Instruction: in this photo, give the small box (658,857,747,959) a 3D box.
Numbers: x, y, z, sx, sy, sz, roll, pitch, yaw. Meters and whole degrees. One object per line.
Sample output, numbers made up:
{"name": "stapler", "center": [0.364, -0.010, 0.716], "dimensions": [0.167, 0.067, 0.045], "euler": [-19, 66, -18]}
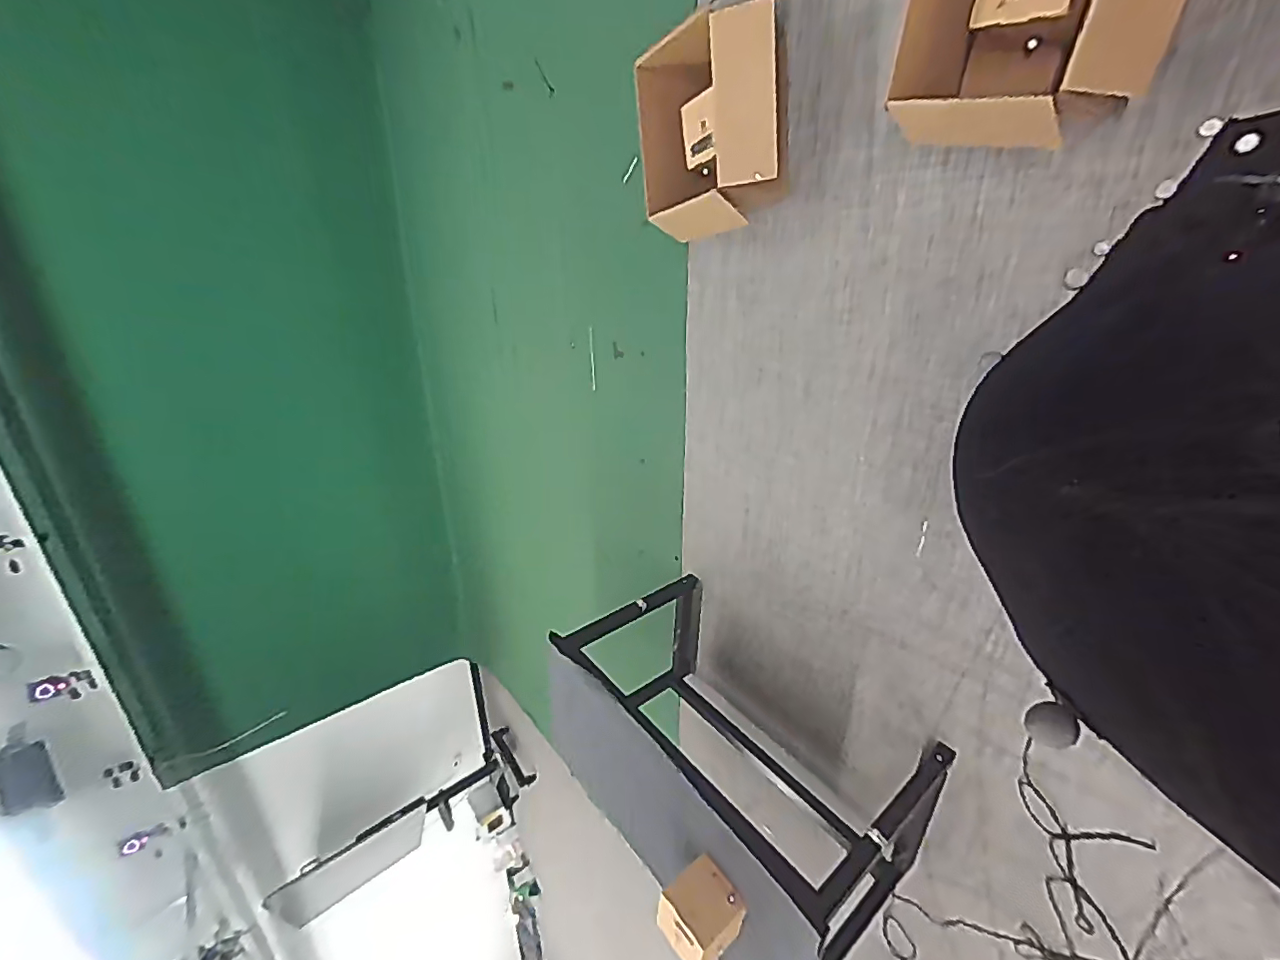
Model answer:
{"name": "small box", "center": [0.170, 1.184, 1.471], "dimensions": [0.168, 0.176, 0.179], "euler": [33, 130, 42]}
